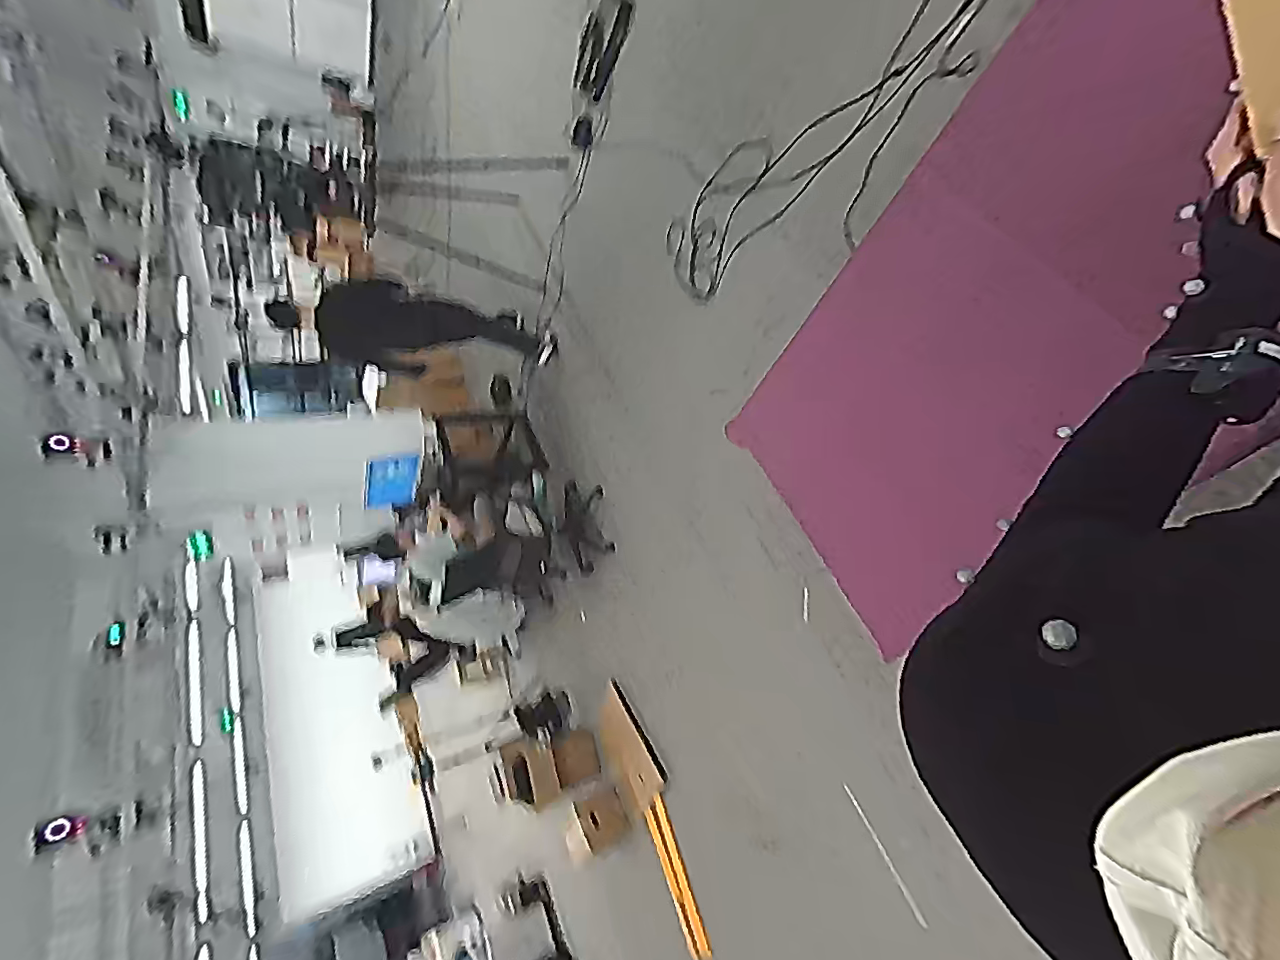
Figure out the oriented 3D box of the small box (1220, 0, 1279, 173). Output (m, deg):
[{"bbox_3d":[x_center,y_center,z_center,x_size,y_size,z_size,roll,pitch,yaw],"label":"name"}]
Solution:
[{"bbox_3d":[0.585,-0.359,0.408,0.168,0.176,0.179,-11,85,58],"label":"small box"}]
